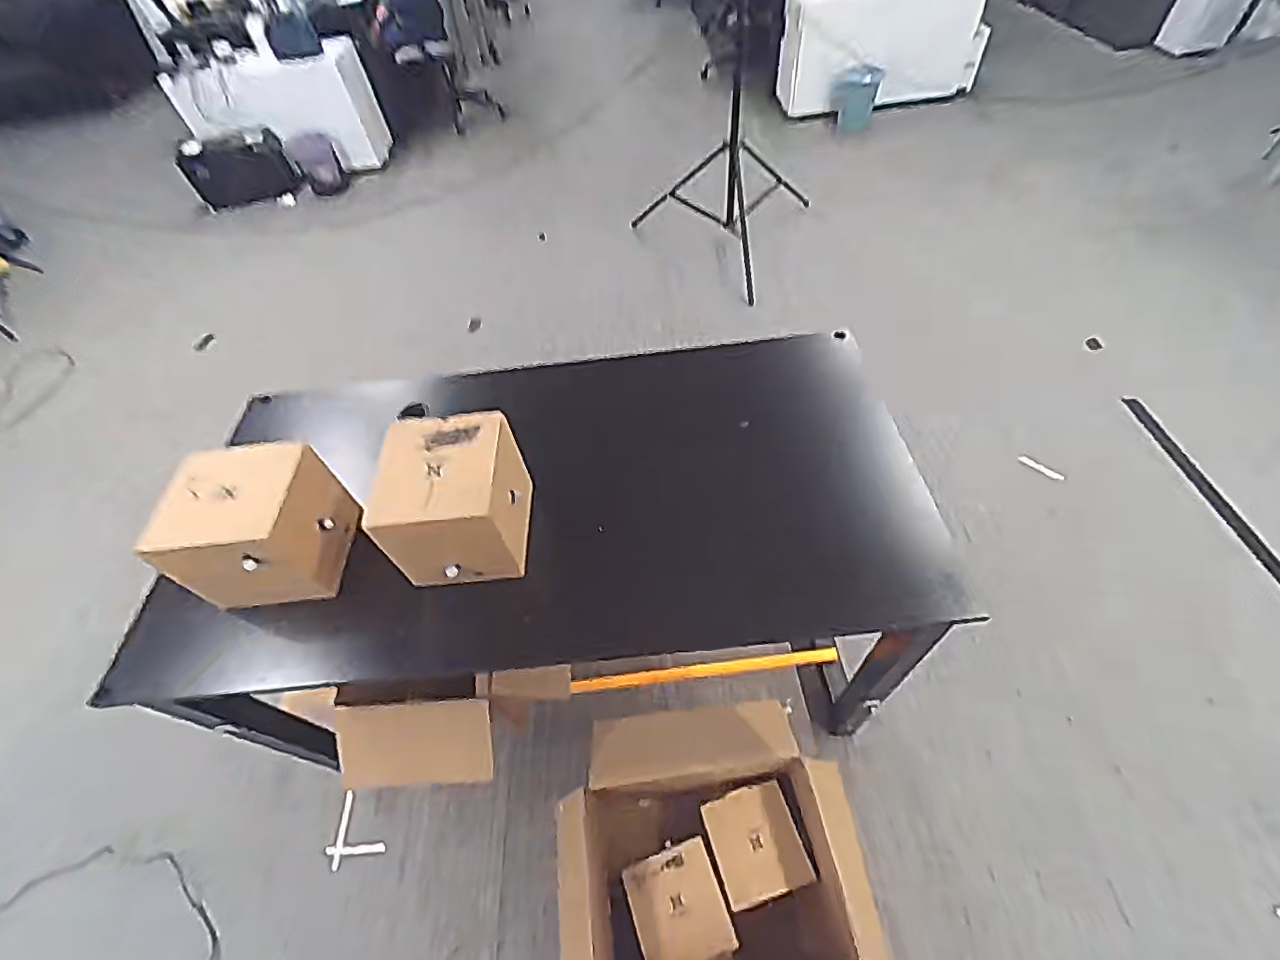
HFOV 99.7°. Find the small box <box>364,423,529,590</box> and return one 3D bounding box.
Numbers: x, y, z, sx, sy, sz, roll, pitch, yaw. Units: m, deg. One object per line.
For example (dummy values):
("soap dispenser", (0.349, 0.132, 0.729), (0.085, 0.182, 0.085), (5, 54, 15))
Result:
("small box", (-0.264, 0.041, 0.791), (0.168, 0.176, 0.179), (-6, 52, 2))

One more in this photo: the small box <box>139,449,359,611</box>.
("small box", (-0.547, 0.077, 0.792), (0.179, 0.176, 0.168), (-6, 51, 1))
